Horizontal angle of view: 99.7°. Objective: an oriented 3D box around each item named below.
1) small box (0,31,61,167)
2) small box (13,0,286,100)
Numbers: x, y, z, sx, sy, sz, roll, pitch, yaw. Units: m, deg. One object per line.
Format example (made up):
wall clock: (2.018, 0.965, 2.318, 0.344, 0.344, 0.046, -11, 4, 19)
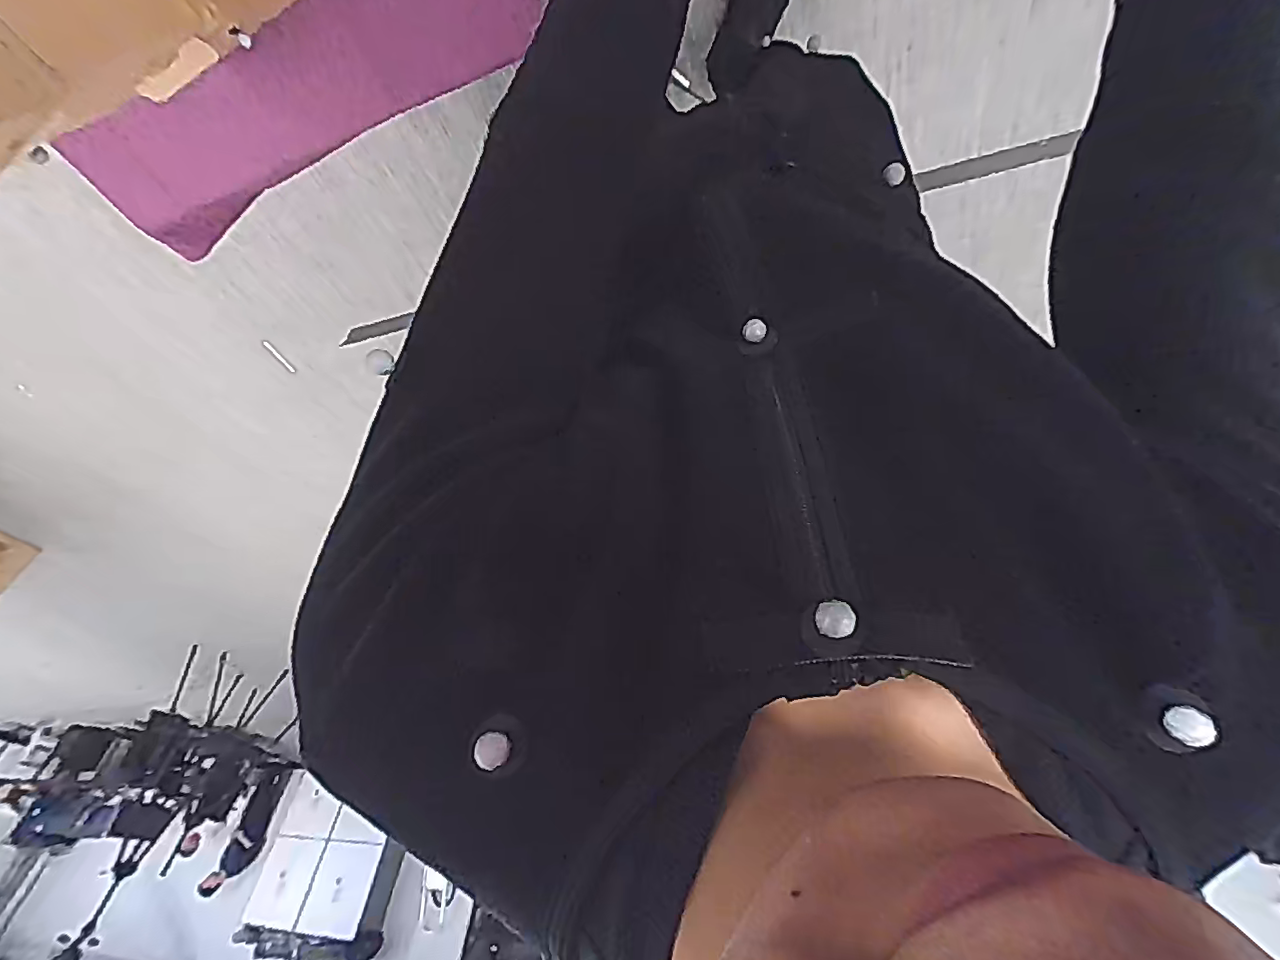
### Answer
small box: (-0.510, -0.241, 0.296, 0.168, 0.176, 0.179, -14, 136, 23)
small box: (-0.471, -0.502, 0.496, 0.168, 0.176, 0.179, -12, 137, 21)
